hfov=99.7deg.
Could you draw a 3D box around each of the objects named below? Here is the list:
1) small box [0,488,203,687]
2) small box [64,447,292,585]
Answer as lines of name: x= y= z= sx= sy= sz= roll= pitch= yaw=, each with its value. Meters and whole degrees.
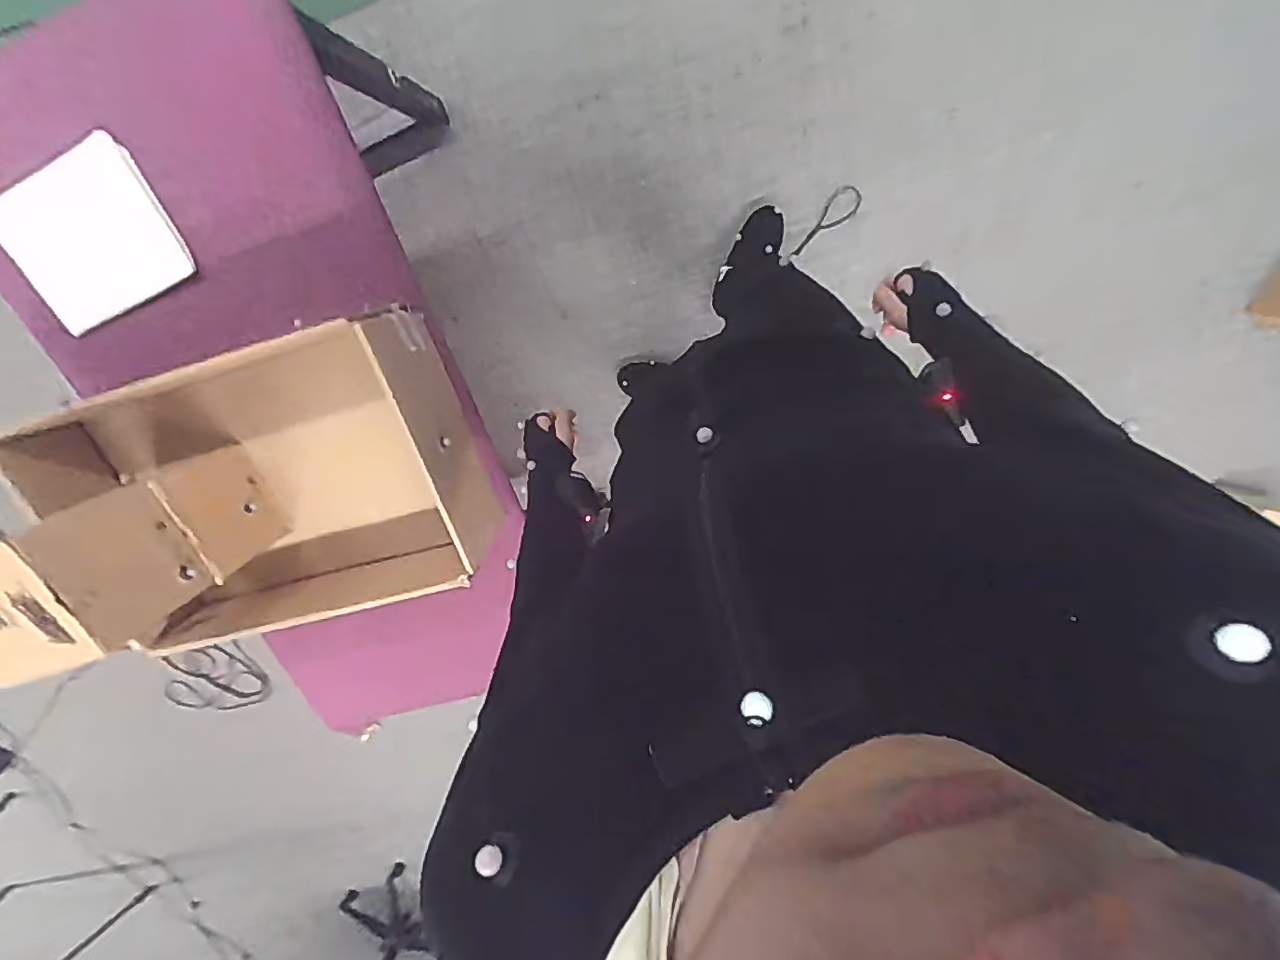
small box: x=-0.721 y=0.129 z=0.697 sx=0.179 sy=0.176 sz=0.168 roll=-17 pitch=109 yaw=11
small box: x=-0.705 y=0.066 z=0.848 sx=0.179 sy=0.176 sz=0.168 roll=-17 pitch=109 yaw=9
